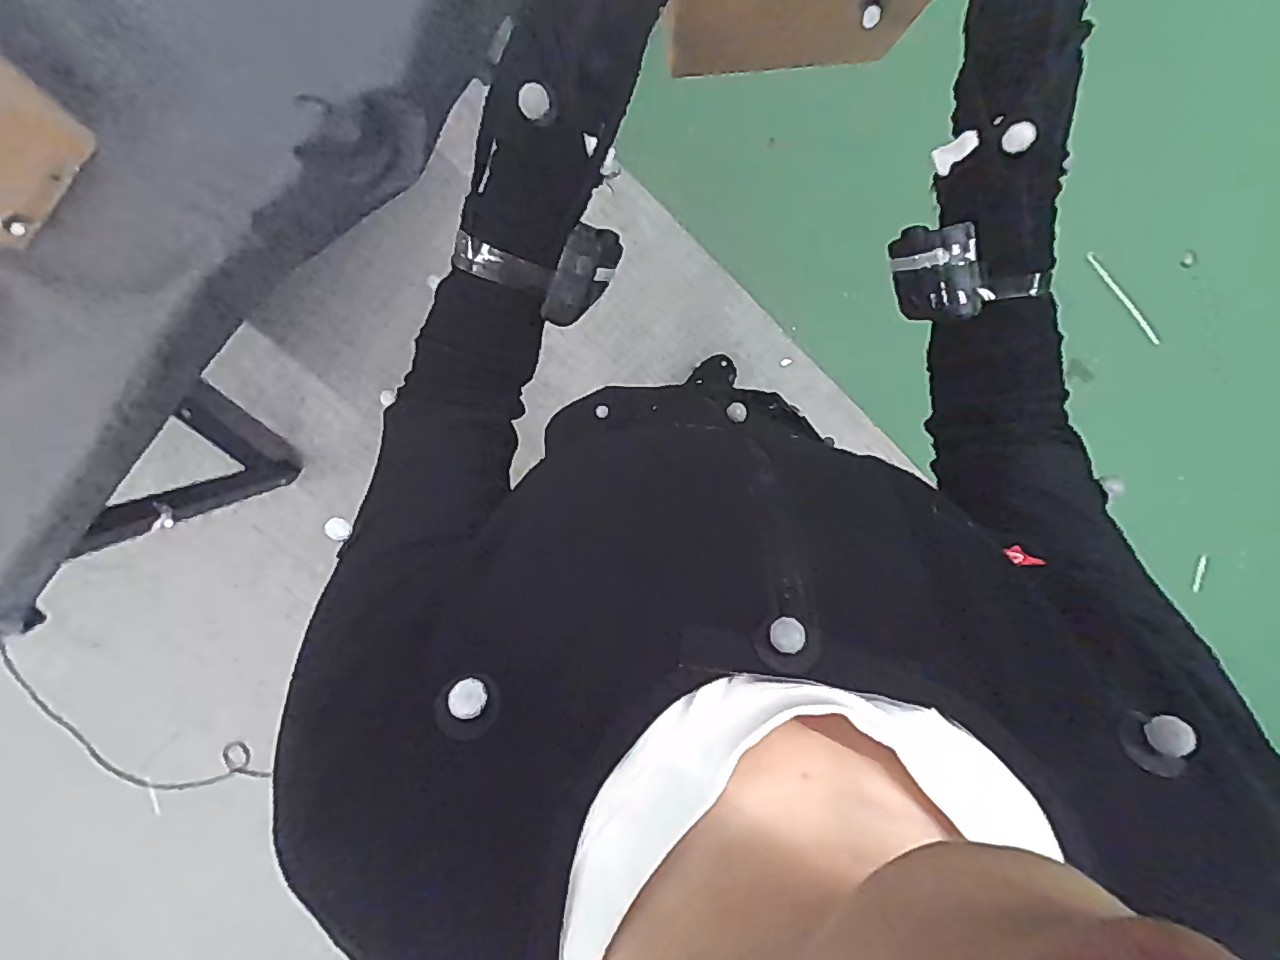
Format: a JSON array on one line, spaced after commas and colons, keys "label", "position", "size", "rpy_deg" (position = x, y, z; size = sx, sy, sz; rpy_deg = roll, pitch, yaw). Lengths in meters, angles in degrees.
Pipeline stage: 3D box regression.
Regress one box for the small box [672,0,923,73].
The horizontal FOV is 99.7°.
[{"label": "small box", "position": [0.110, -0.398, 0.345], "size": [0.179, 0.176, 0.168], "rpy_deg": [-5, 103, 3]}]
